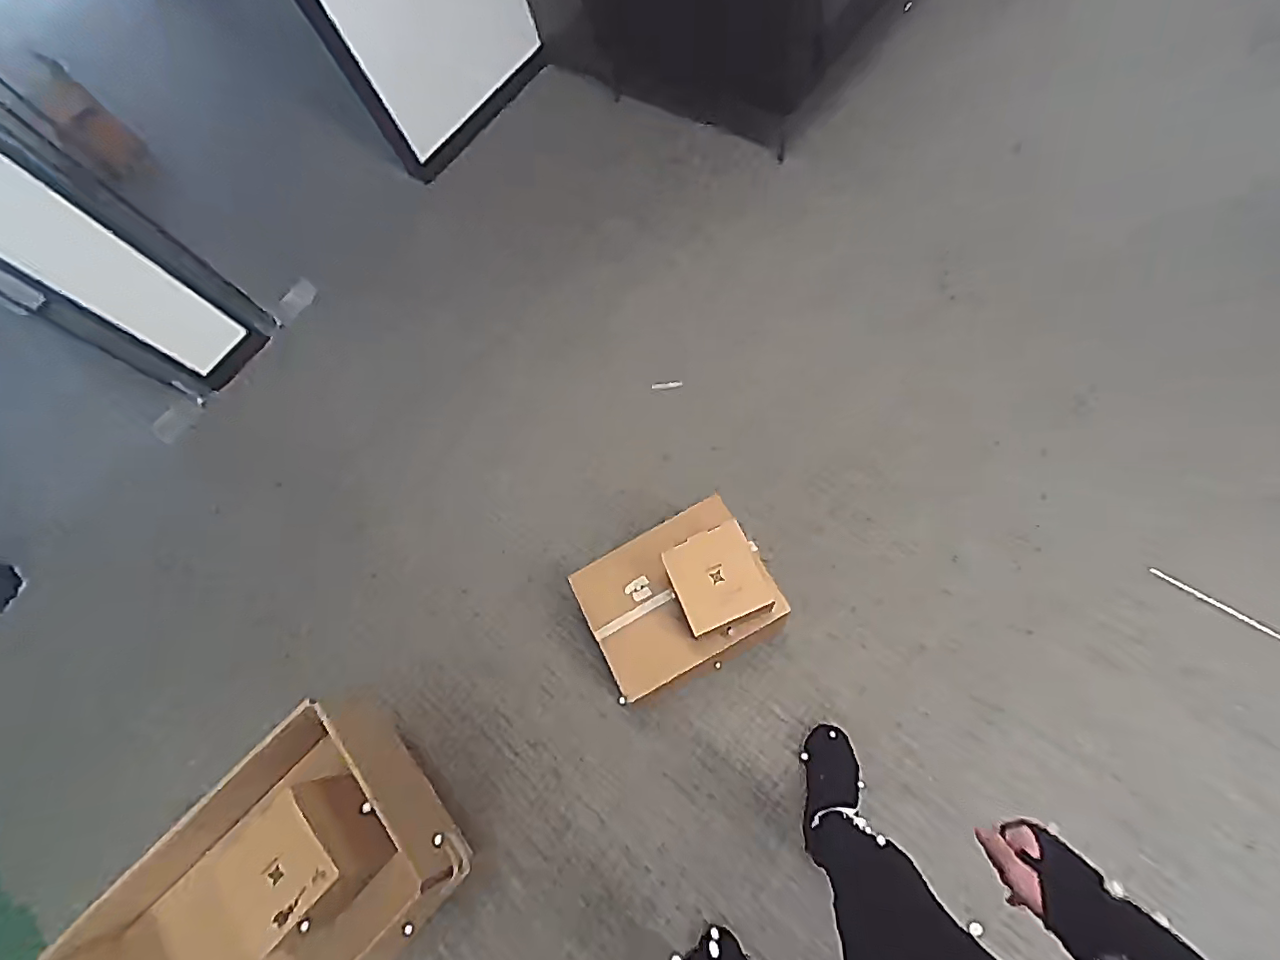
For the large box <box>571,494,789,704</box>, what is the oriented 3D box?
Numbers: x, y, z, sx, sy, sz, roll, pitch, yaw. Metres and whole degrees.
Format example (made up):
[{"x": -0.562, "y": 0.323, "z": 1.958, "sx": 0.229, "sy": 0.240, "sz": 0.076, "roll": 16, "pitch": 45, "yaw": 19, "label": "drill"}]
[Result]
[{"x": 0.106, "y": 0.299, "z": 1.328, "sx": 0.408, "sy": 0.320, "sz": 0.320, "roll": -30, "pitch": 66, "yaw": 0, "label": "large box"}]

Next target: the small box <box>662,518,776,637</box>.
[{"x": 0.157, "y": 0.203, "z": 1.088, "sx": 0.168, "sy": 0.176, "sz": 0.179, "roll": -24, "pitch": 69, "yaw": 2, "label": "small box"}]
